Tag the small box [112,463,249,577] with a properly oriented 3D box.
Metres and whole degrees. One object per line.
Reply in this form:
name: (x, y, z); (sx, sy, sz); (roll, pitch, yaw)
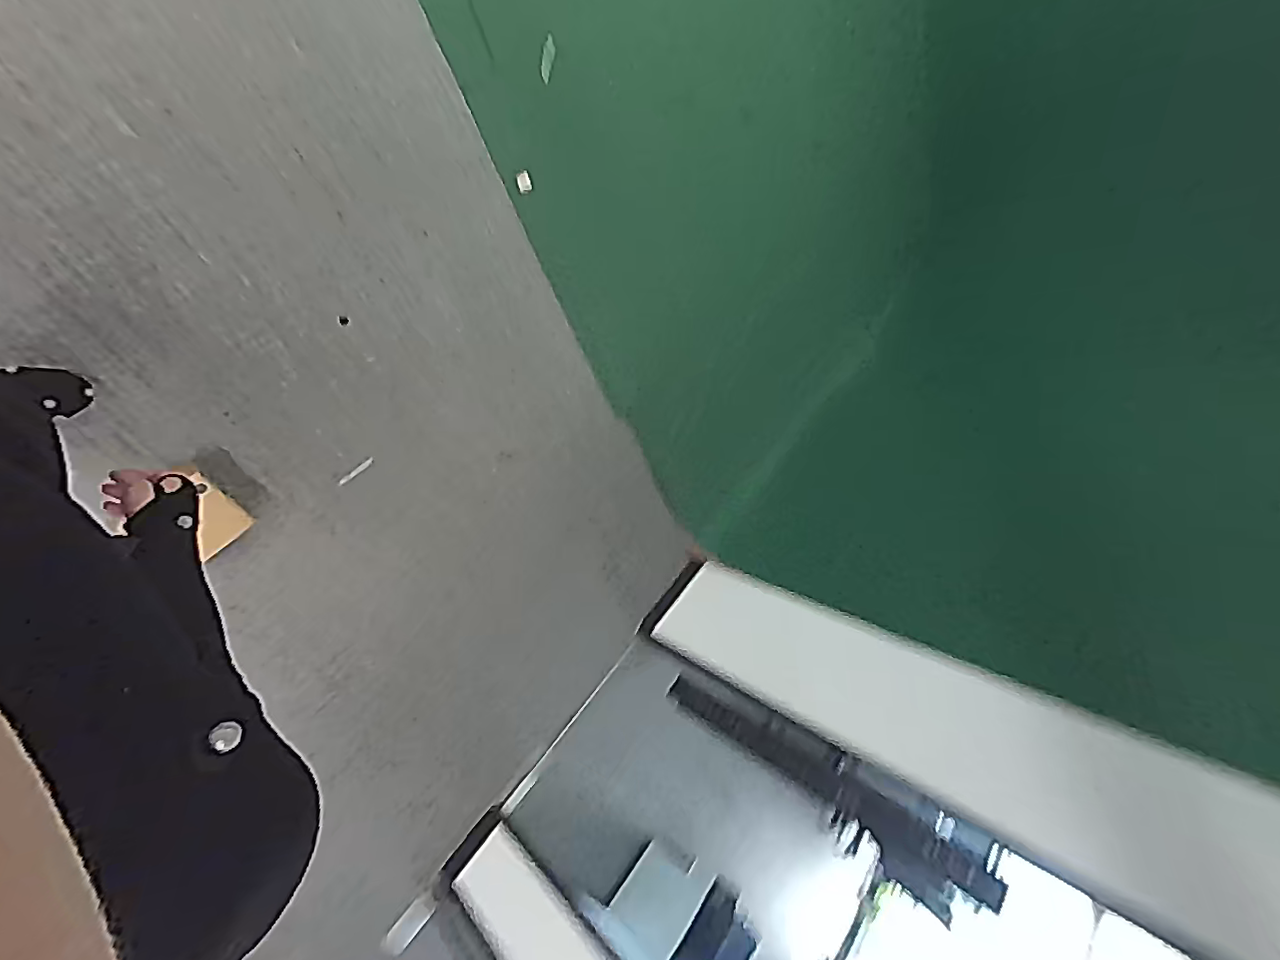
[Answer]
small box: (-1.048, 0.083, 1.231); (0.179, 0.176, 0.168); (-46, 130, -25)
